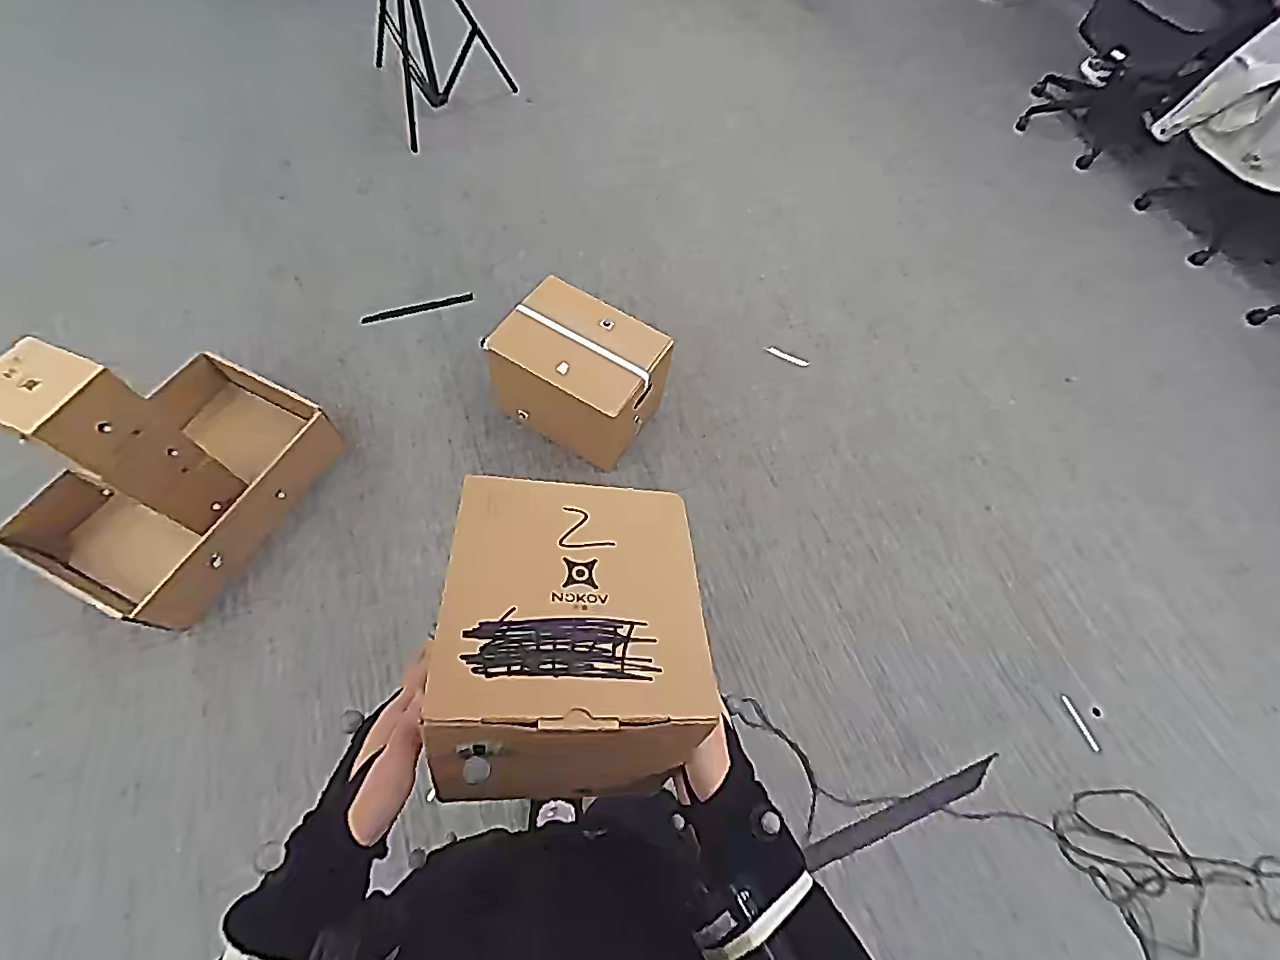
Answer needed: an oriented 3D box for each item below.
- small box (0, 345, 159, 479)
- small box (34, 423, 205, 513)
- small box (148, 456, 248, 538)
[{"bbox_3d":[-1.110,-0.123,1.049,0.179,0.176,0.168,21,62,4],"label":"small box"},{"bbox_3d":[-1.129,-0.046,1.194,0.179,0.176,0.168,21,62,5],"label":"small box"},{"bbox_3d":[-1.141,0.022,1.341,0.179,0.176,0.168,25,64,6],"label":"small box"}]
